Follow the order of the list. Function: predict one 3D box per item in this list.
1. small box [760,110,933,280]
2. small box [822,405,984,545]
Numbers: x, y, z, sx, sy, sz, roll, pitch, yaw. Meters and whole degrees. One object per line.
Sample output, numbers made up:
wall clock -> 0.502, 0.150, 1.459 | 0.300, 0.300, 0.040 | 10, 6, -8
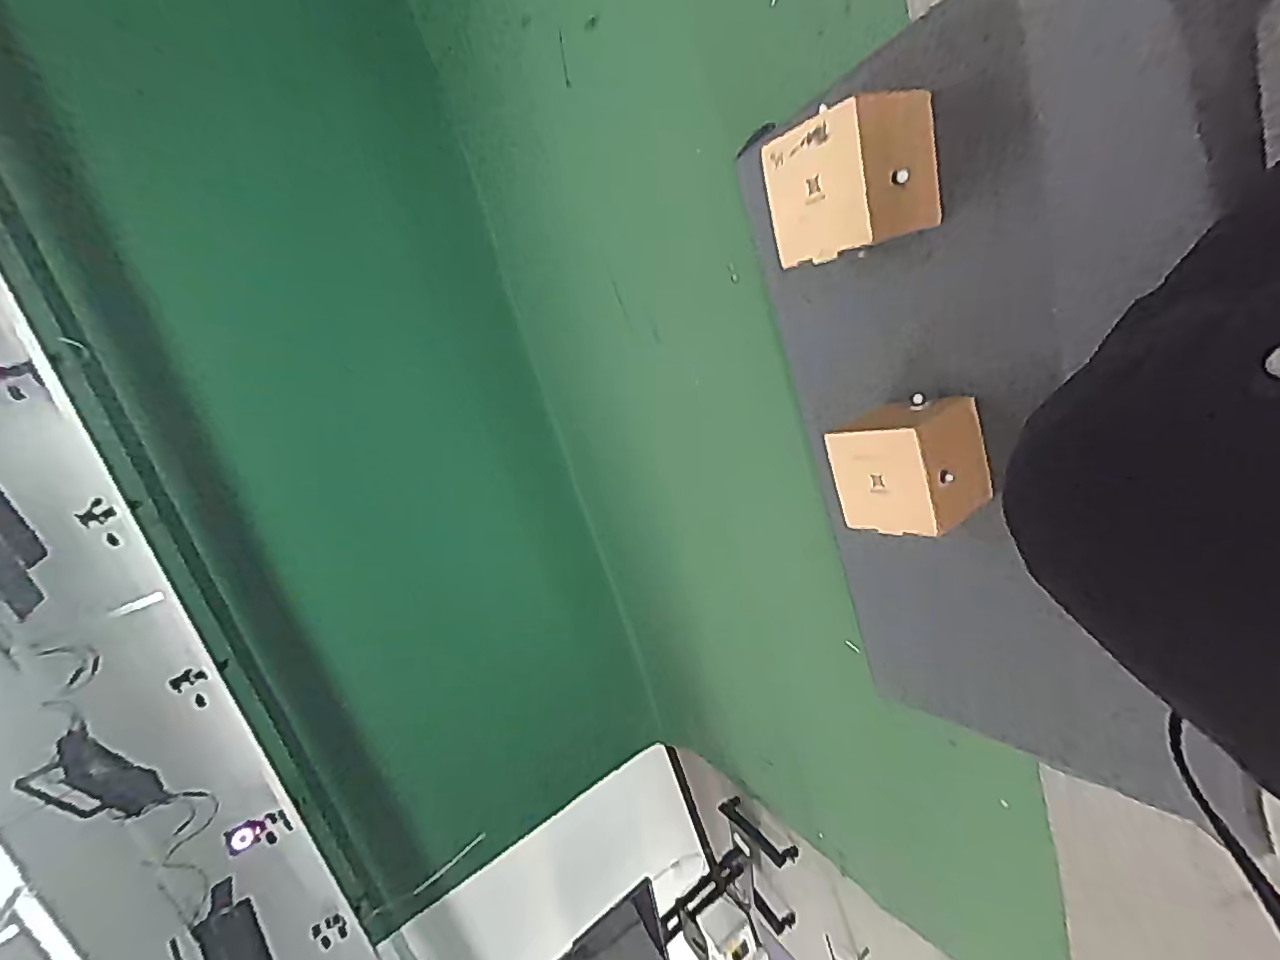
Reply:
small box -> 0.310, -0.417, 0.804 | 0.168, 0.176, 0.179 | 11, 122, 57
small box -> 0.440, -0.012, 0.900 | 0.168, 0.176, 0.179 | 0, 110, 59
